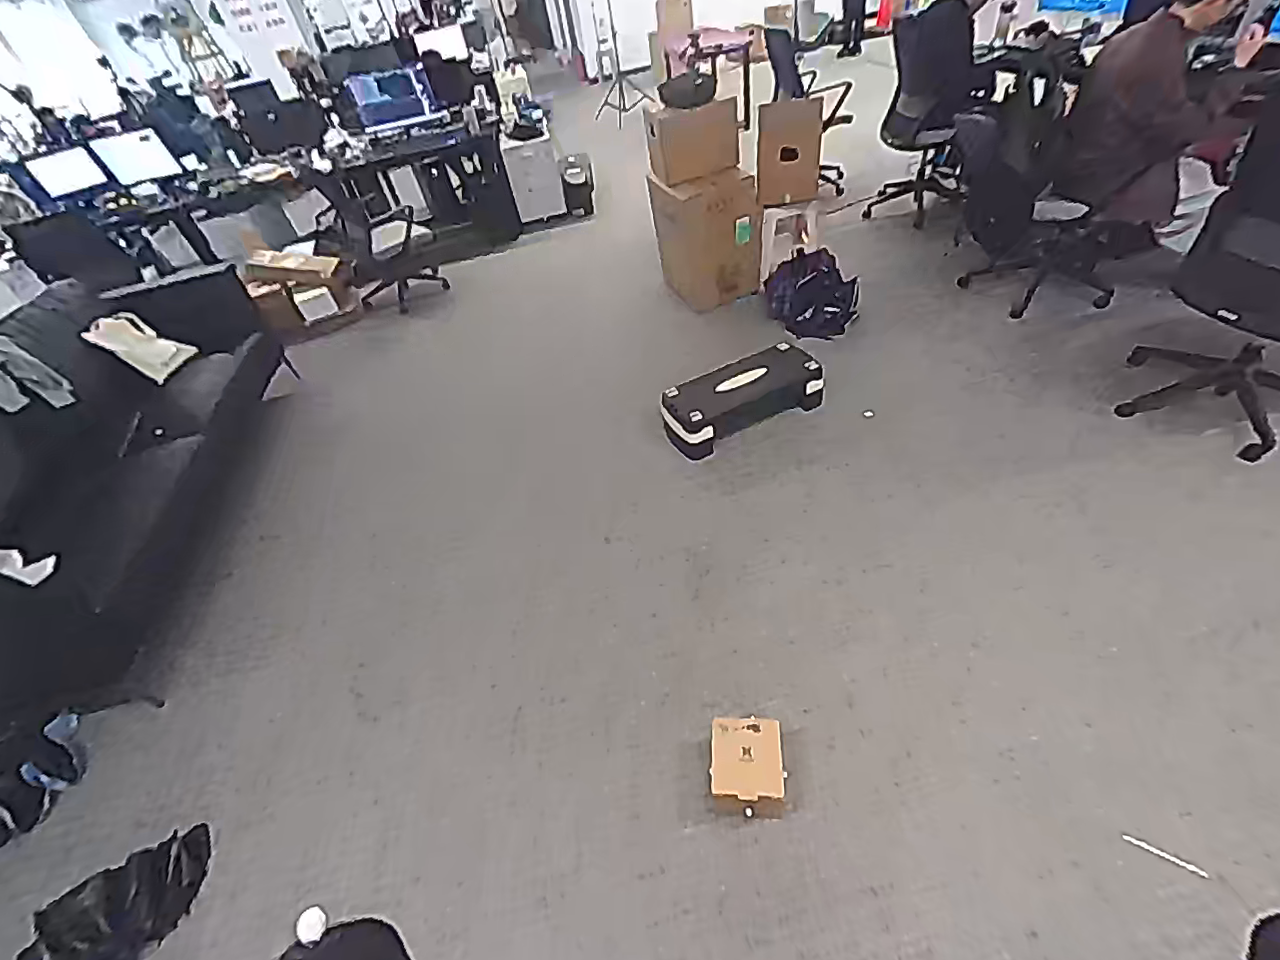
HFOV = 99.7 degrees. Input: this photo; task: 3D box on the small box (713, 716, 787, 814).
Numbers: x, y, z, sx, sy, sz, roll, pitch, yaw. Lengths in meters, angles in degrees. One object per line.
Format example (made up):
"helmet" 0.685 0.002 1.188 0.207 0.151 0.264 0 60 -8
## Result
"small box" 0.271 0.702 1.328 0.168 0.176 0.179 -3 46 12
